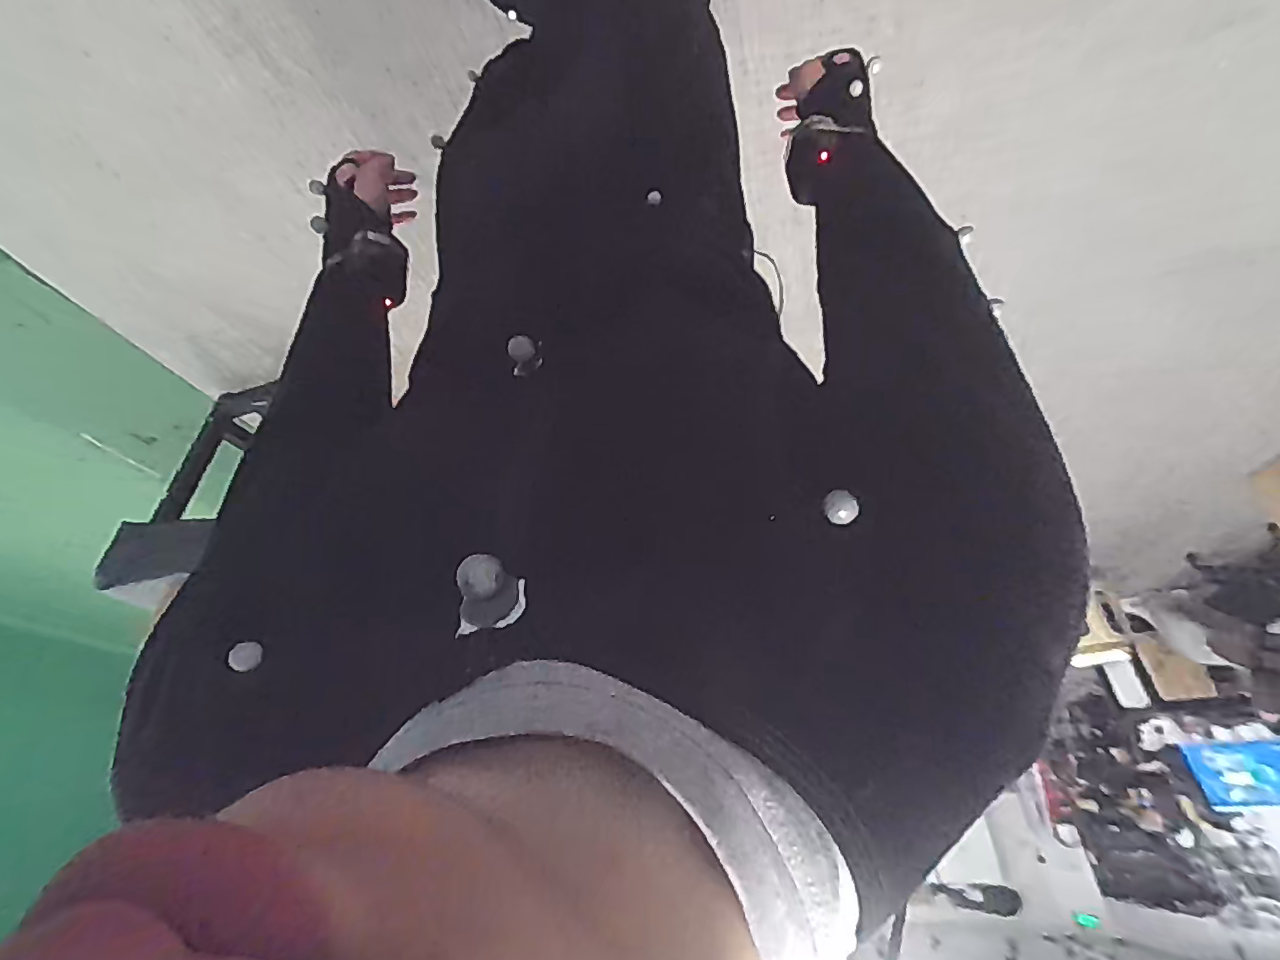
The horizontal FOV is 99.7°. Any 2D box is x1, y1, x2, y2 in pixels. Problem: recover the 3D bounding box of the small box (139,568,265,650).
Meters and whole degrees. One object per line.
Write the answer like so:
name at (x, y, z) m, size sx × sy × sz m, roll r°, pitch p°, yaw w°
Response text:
small box at (-1.176, 0.352, 1.470) m, size 0.168 × 0.176 × 0.179 m, roll -8°, pitch 146°, yaw 11°
